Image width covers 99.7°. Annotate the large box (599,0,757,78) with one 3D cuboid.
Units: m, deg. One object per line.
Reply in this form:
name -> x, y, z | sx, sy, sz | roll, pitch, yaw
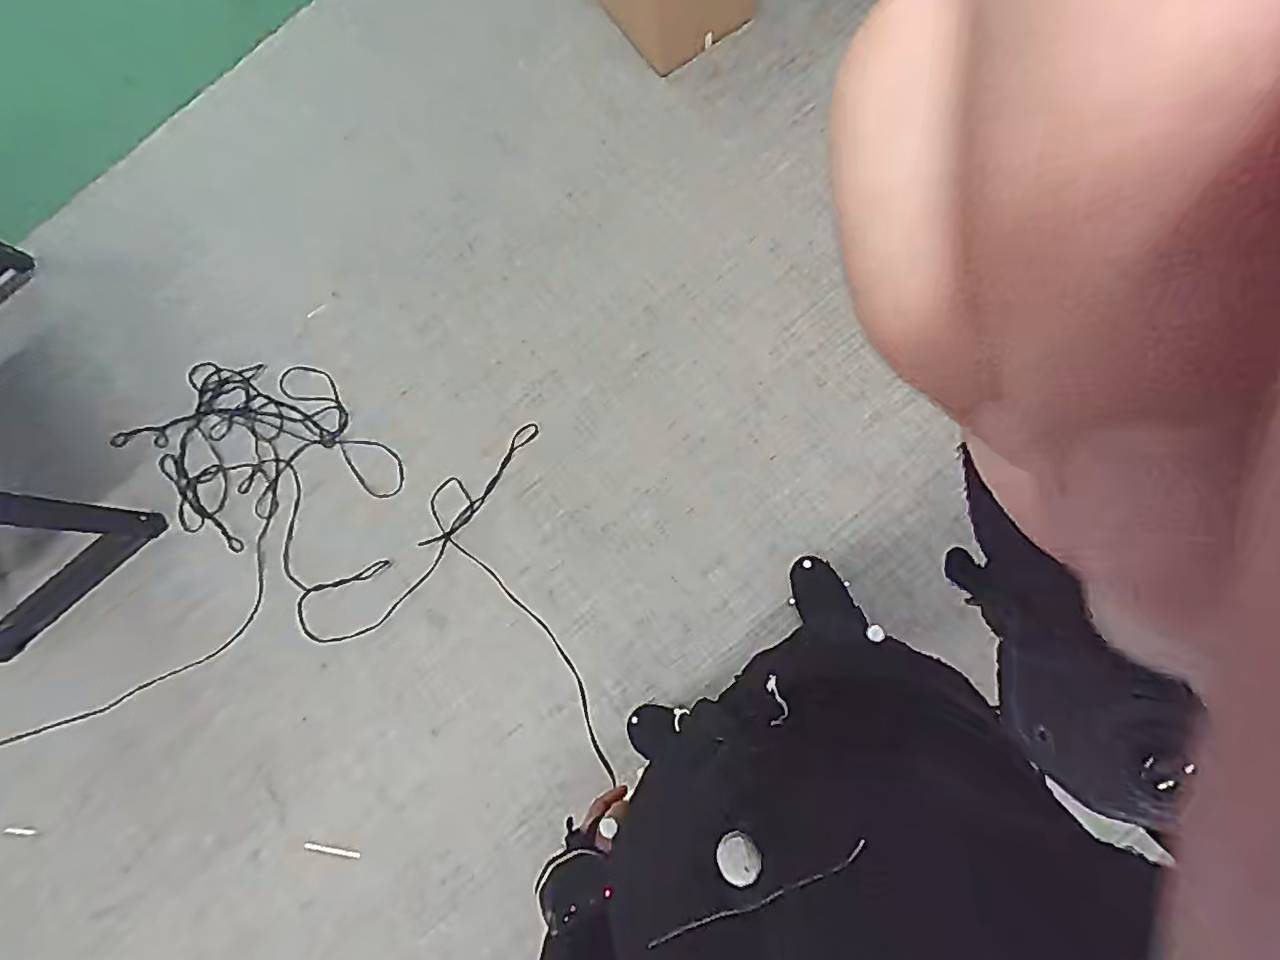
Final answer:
large box -> 0.077, -1.396, 1.424 | 0.320, 0.320, 0.408 | -33, 76, 2
